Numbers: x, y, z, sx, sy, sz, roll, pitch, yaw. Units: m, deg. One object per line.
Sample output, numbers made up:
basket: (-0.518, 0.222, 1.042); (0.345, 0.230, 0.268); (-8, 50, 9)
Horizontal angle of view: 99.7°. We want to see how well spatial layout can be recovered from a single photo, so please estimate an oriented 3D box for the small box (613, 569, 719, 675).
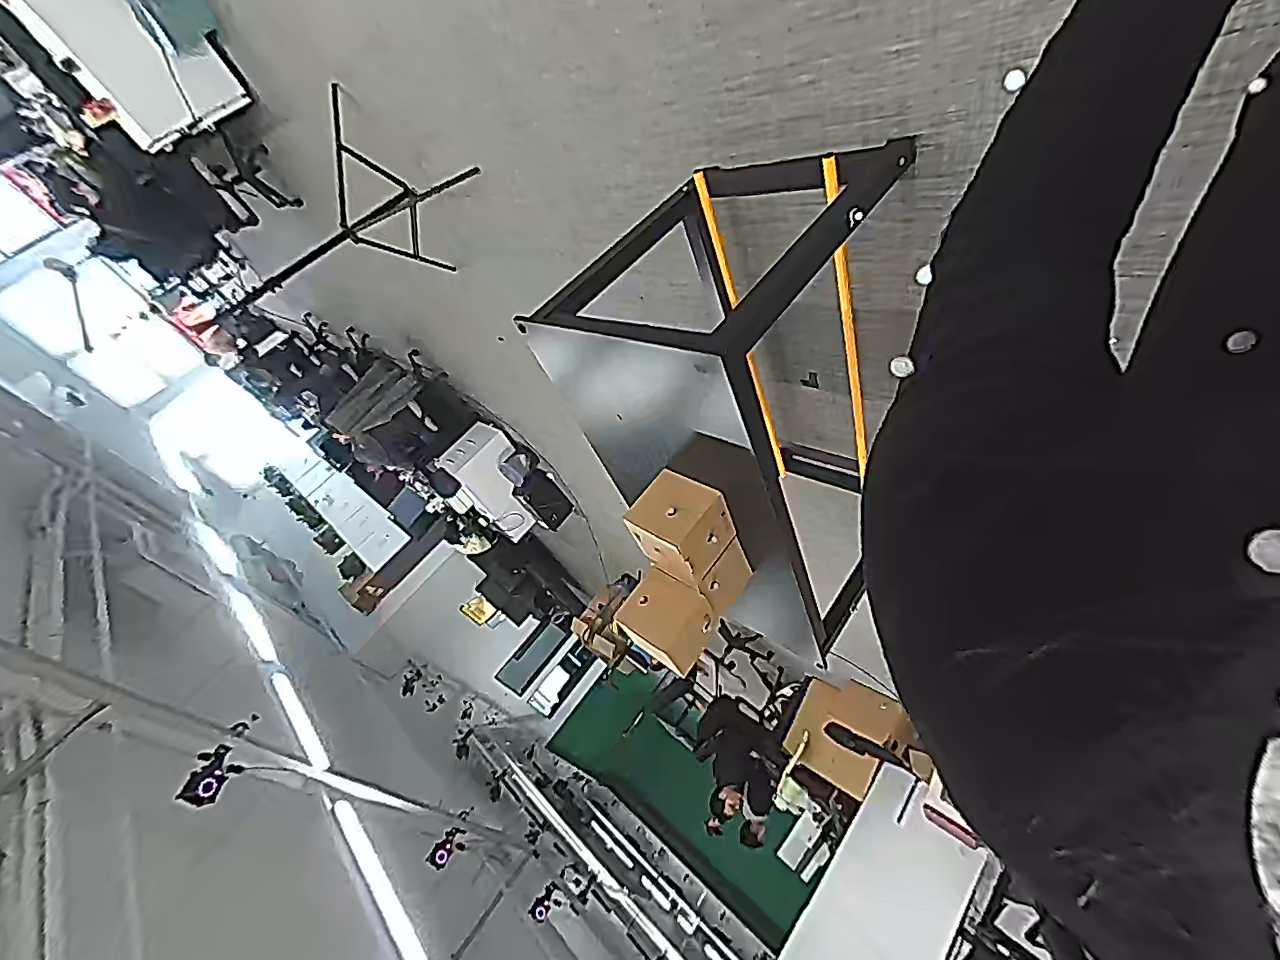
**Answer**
small box: (0.070, 0.348, 1.358); (0.179, 0.176, 0.168); (23, 155, 38)
